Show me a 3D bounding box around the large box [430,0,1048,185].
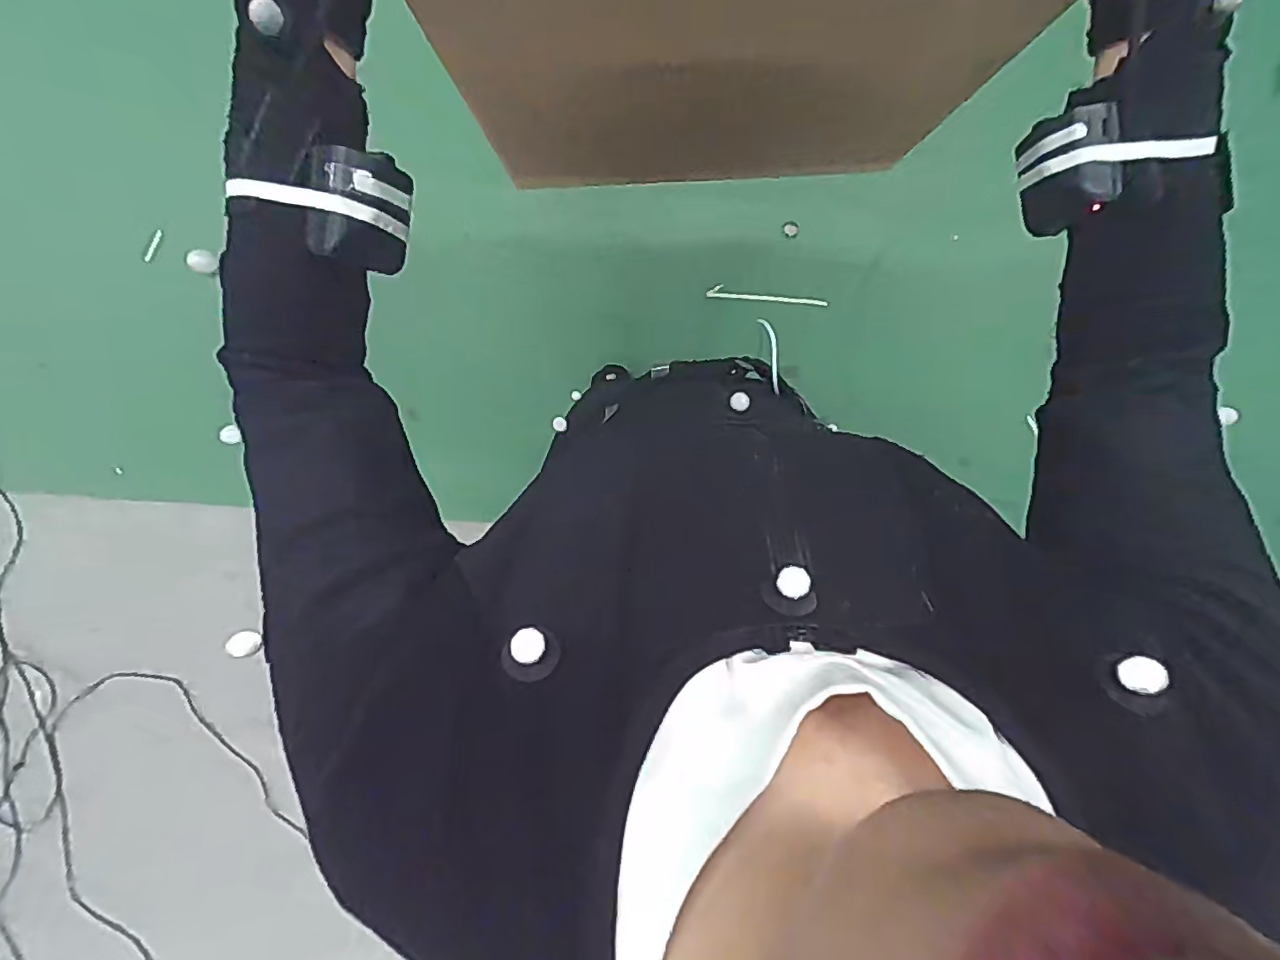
[{"bbox_3d":[0.058,-0.456,0.413,0.408,0.320,0.320,-4,100,-1],"label":"large box"}]
